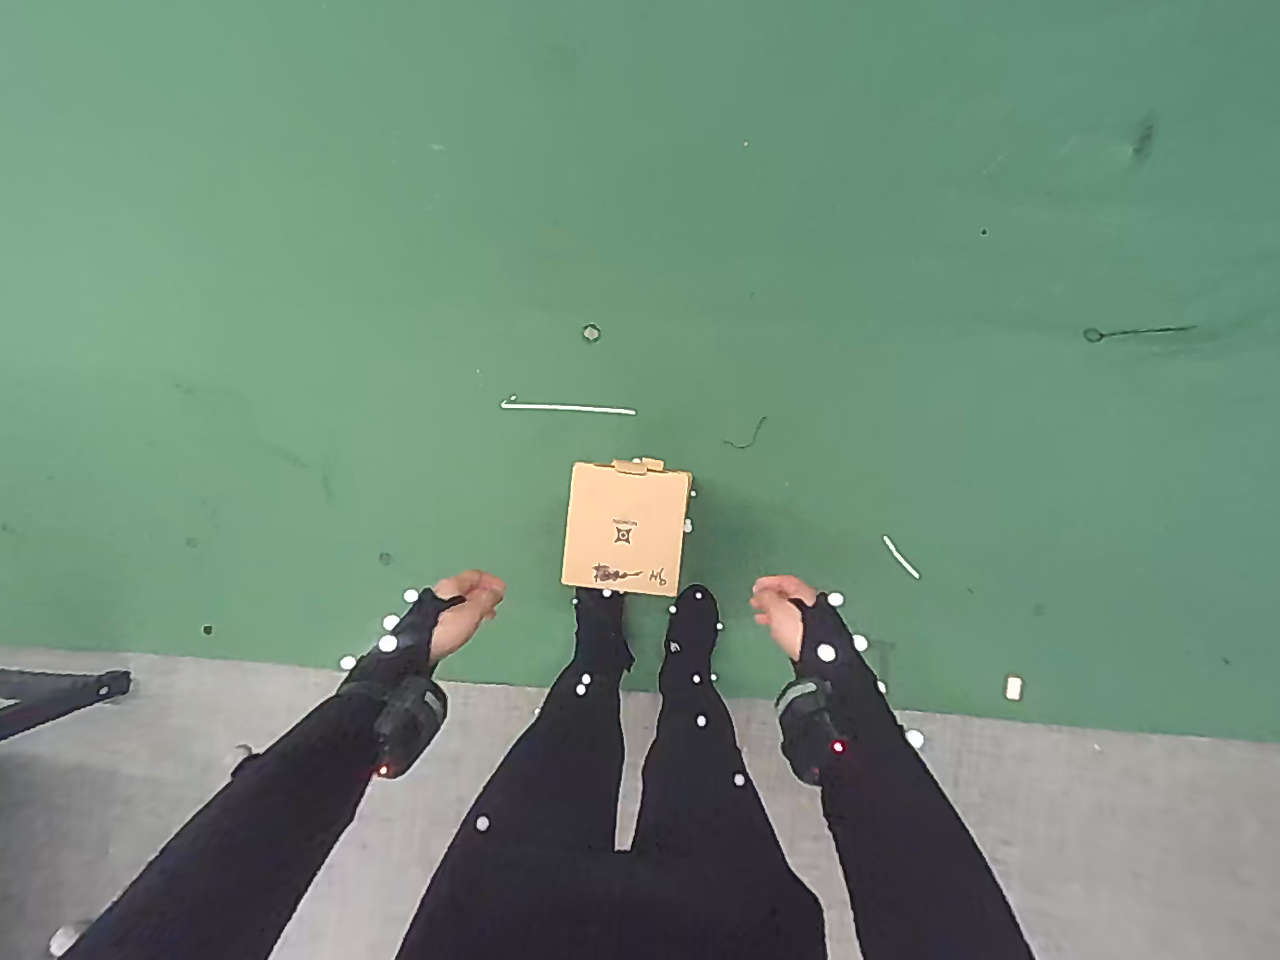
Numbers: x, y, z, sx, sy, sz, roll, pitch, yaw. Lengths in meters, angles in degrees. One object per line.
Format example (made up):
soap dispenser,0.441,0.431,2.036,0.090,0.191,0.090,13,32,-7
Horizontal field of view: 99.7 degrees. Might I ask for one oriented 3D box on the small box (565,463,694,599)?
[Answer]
small box,-0.012,0.072,0.835,0.168,0.176,0.179,6,90,2
